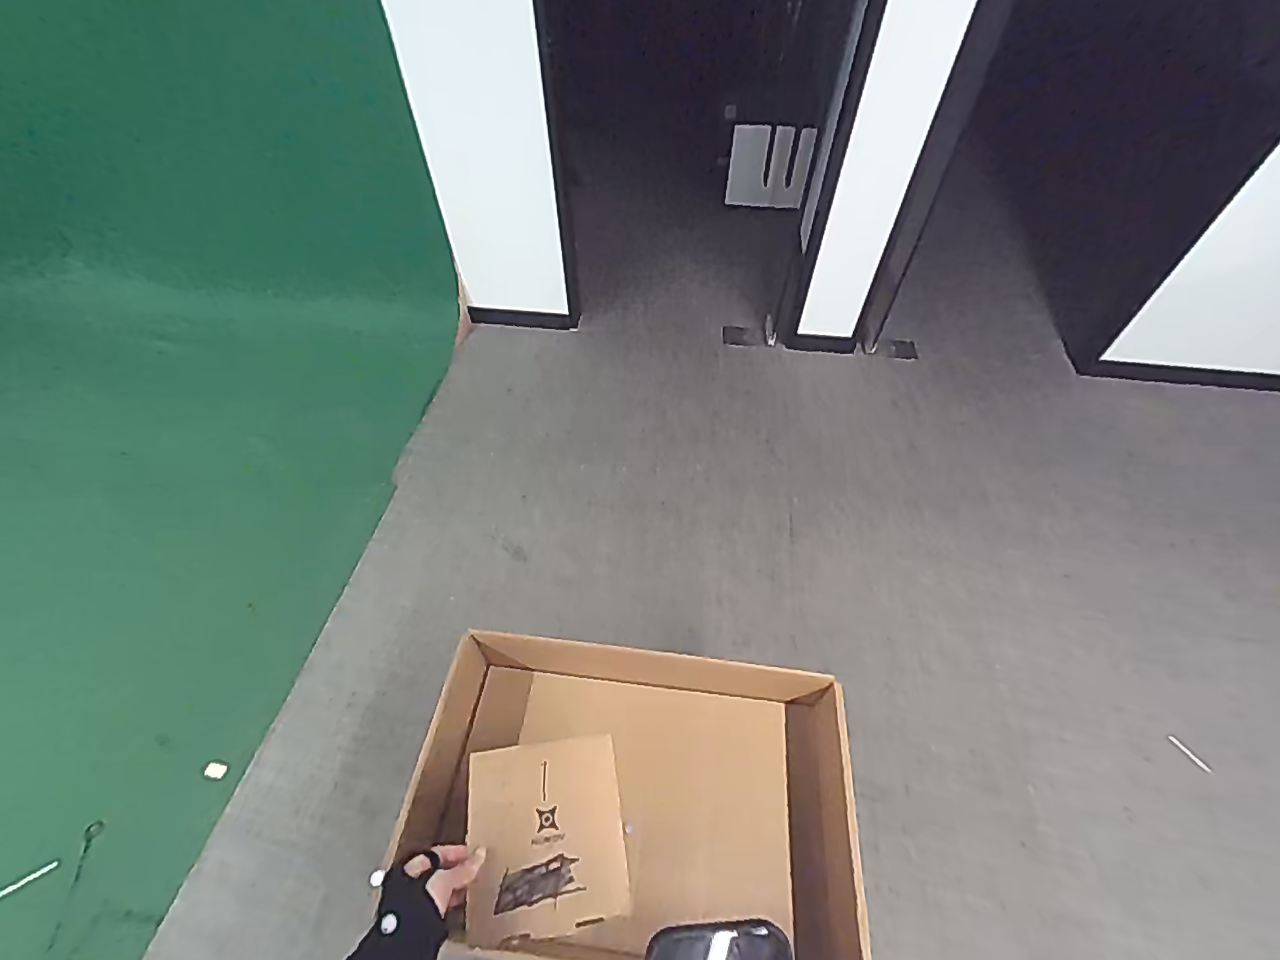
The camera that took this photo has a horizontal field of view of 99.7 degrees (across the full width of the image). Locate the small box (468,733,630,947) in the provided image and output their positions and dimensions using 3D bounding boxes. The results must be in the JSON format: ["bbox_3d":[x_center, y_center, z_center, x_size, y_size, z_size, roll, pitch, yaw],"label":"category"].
[{"bbox_3d":[-0.106,0.425,0.650,0.168,0.176,0.179,-5,54,-9],"label":"small box"}]
